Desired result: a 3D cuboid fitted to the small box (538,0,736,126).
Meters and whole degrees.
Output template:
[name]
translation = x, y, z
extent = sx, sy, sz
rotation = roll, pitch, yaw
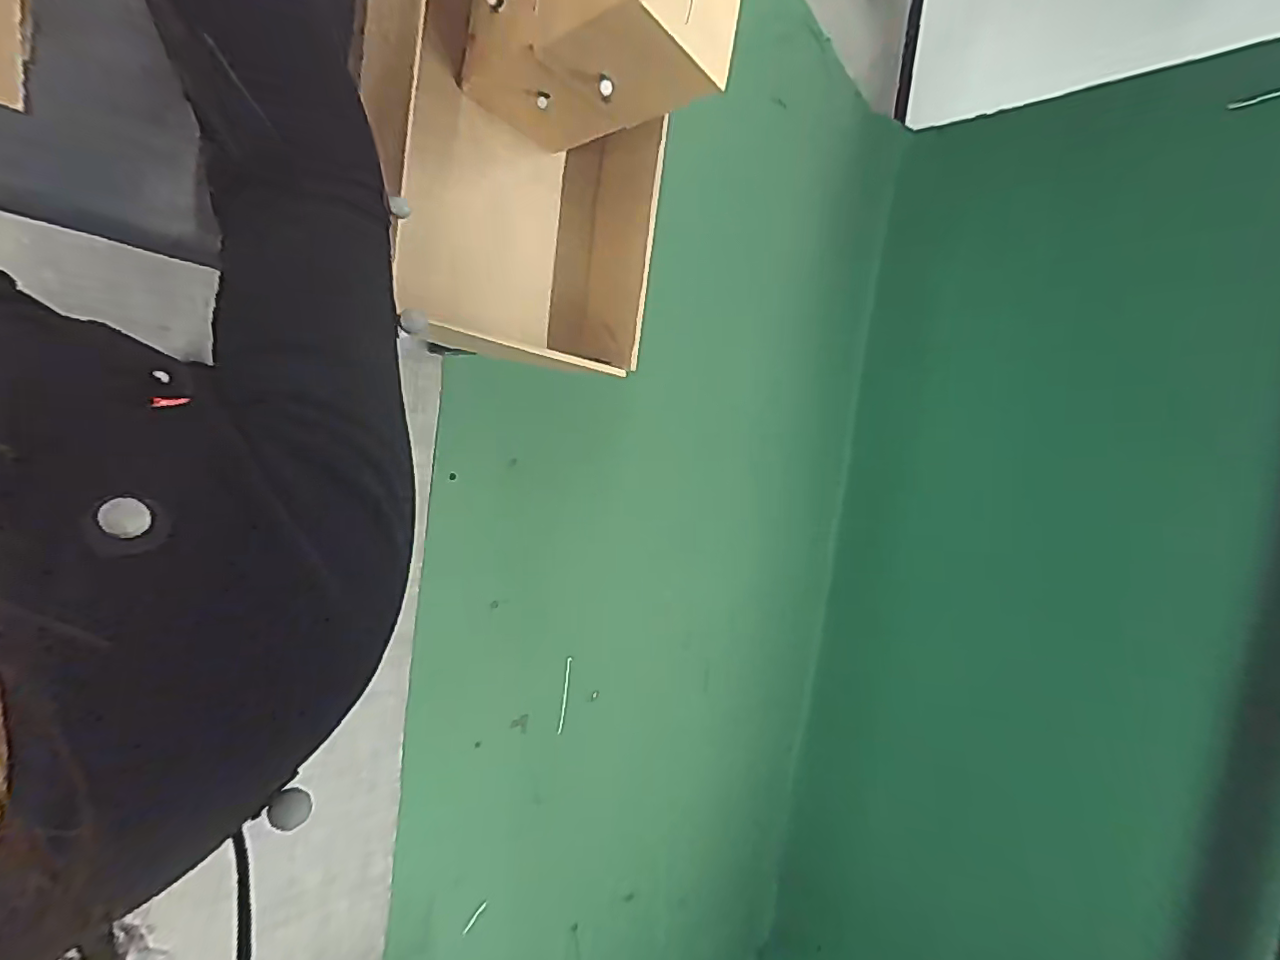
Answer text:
[small box]
translation = -0.003, -0.569, 0.643
extent = 0.168, 0.176, 0.179
rotation = 4, 96, -48
